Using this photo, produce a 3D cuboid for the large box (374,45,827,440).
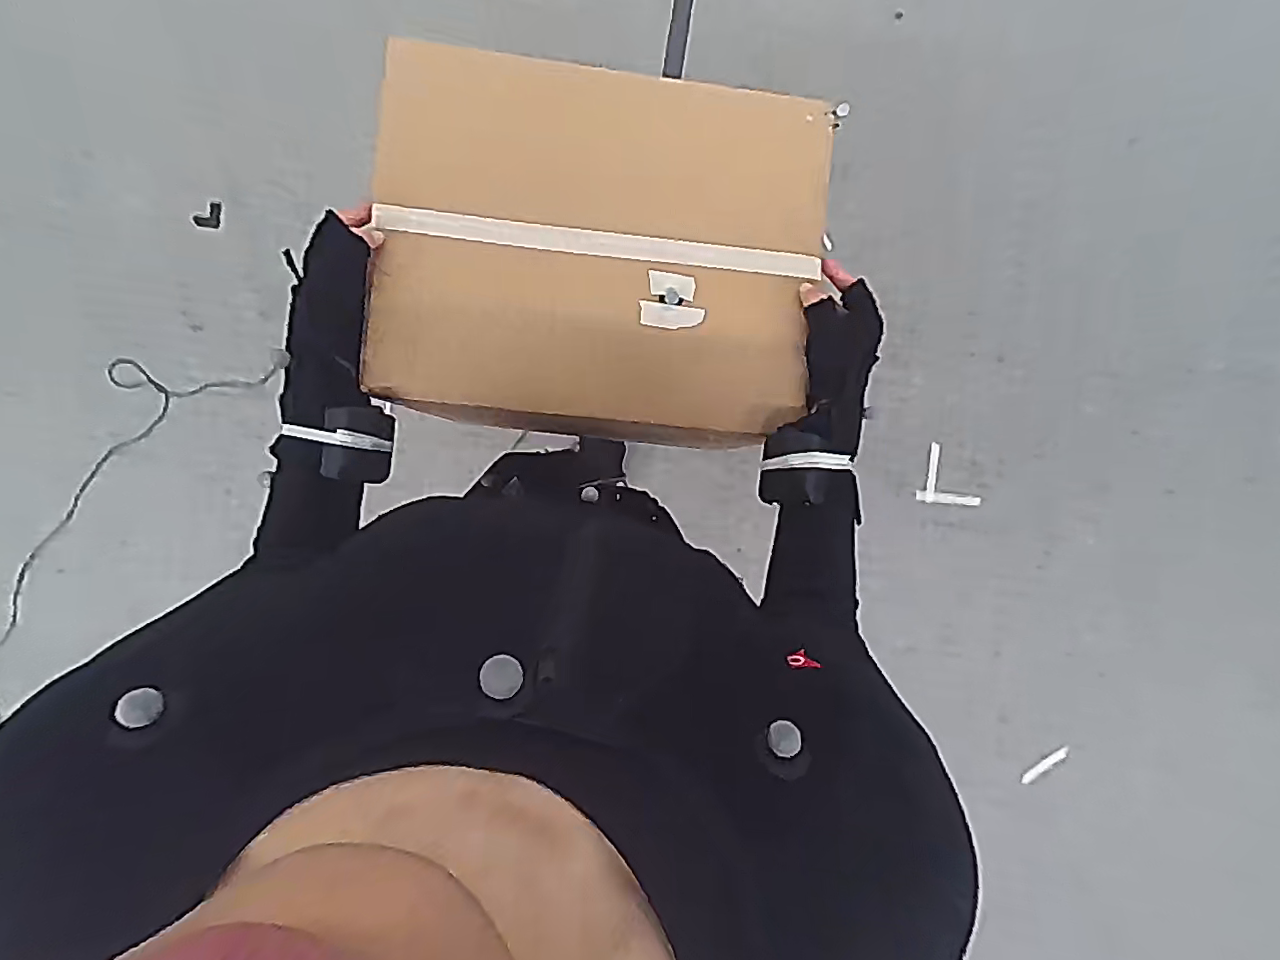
[{"bbox_3d":[-0.045,-0.223,0.646,0.408,0.320,0.320,6,92,-5],"label":"large box"}]
